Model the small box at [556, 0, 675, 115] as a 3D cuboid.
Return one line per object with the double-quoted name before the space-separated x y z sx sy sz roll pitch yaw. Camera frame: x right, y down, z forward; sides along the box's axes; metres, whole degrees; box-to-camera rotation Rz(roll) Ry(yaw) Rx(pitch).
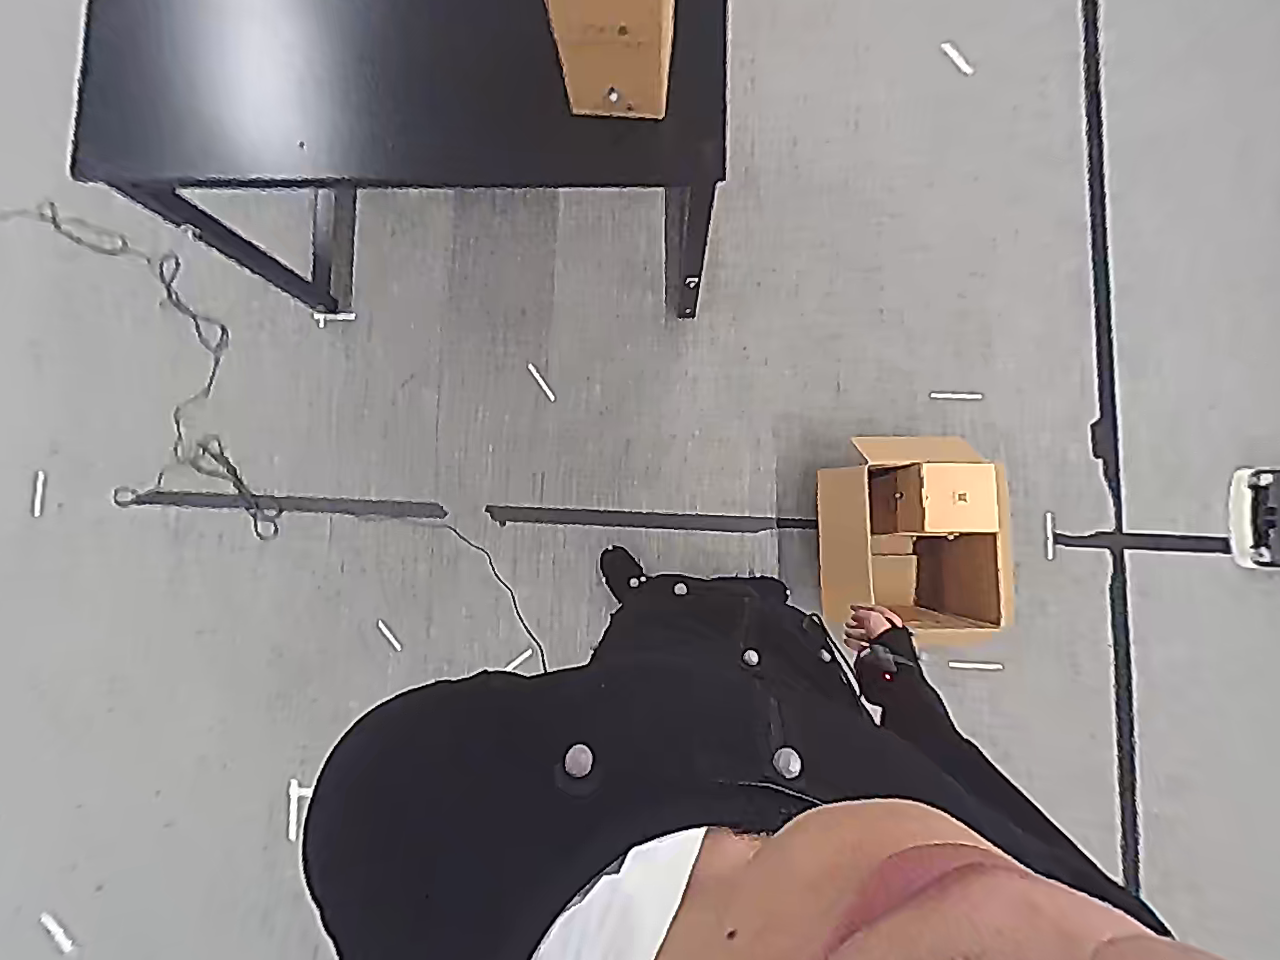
"small box" -0.031 -0.745 0.882 0.168 0.176 0.179 6 86 3
